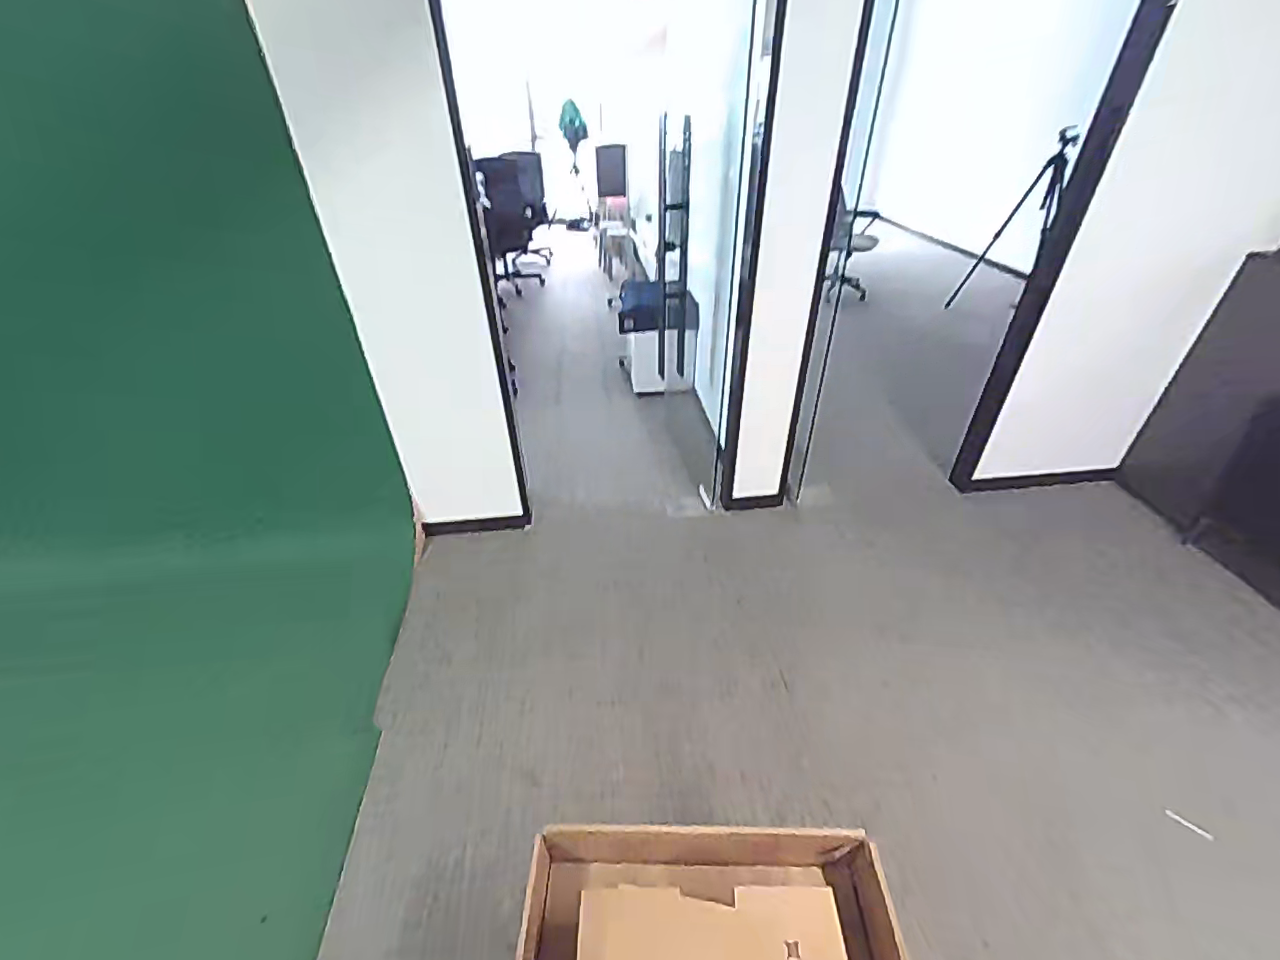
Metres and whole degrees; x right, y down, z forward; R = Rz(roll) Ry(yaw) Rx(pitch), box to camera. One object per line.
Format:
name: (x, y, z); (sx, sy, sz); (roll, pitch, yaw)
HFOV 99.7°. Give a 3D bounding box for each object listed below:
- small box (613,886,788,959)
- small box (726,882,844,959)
small box: (0.049, 0.540, 0.531); (0.168, 0.176, 0.179); (6, 44, 10)
small box: (0.232, 0.792, 0.888); (0.168, 0.176, 0.179); (0, 39, 0)
